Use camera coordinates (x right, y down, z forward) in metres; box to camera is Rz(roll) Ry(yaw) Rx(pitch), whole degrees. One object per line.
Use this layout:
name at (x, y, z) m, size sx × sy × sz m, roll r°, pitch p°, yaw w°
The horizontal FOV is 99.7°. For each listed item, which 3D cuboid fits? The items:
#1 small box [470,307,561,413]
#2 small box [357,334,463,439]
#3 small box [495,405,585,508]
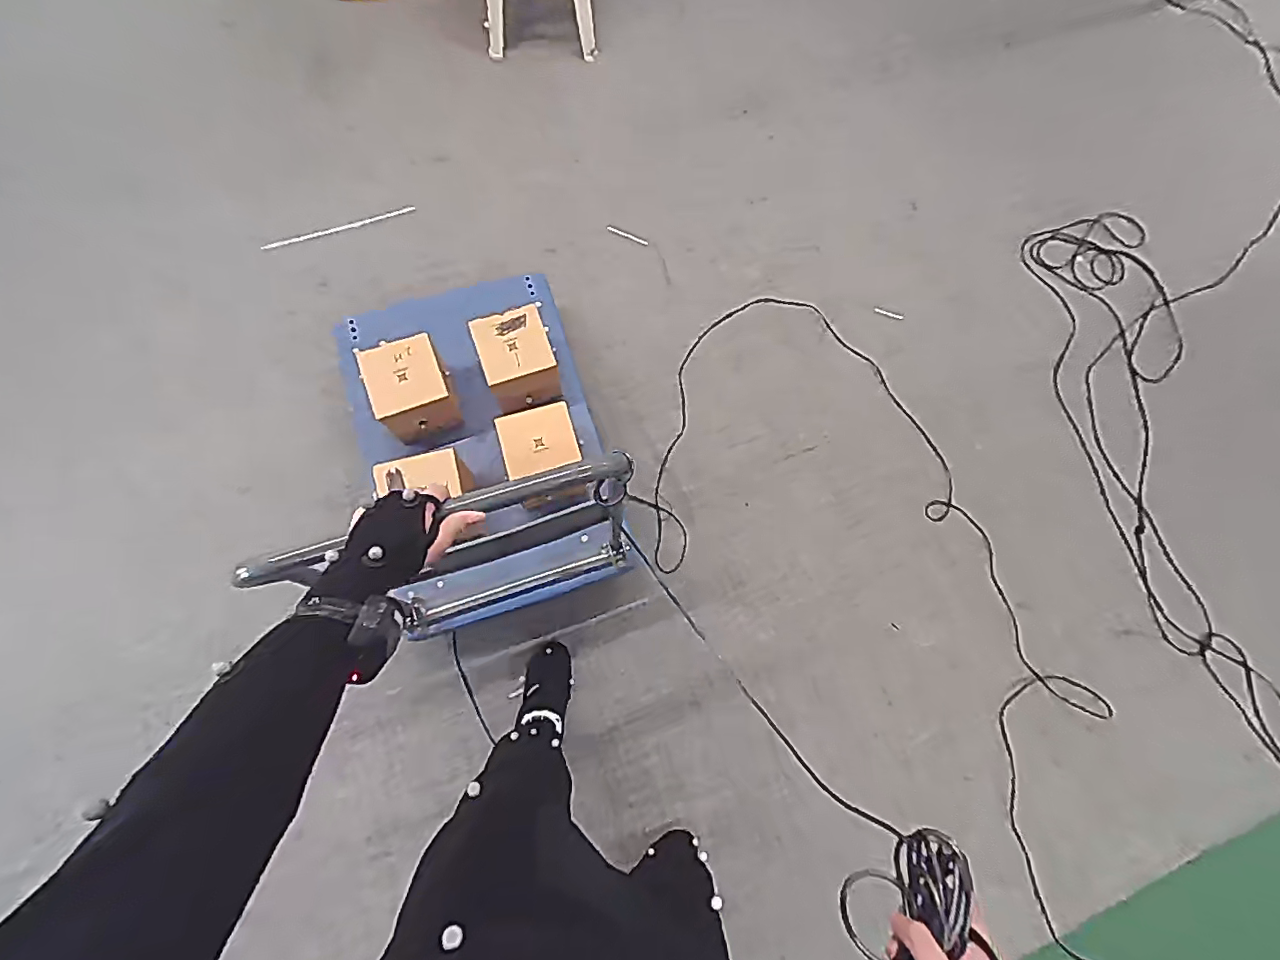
small box at (-0.301, -0.291, 1.334) m, size 0.168 × 0.176 × 0.179 m, roll -18°, pitch 77°, yaw -8°
small box at (-0.542, -0.213, 1.296) m, size 0.168 × 0.176 × 0.179 m, roll -20°, pitch 76°, yaw -9°
small box at (-0.230, -0.051, 1.272) m, size 0.168 × 0.176 × 0.179 m, roll -15°, pitch 77°, yaw -8°
